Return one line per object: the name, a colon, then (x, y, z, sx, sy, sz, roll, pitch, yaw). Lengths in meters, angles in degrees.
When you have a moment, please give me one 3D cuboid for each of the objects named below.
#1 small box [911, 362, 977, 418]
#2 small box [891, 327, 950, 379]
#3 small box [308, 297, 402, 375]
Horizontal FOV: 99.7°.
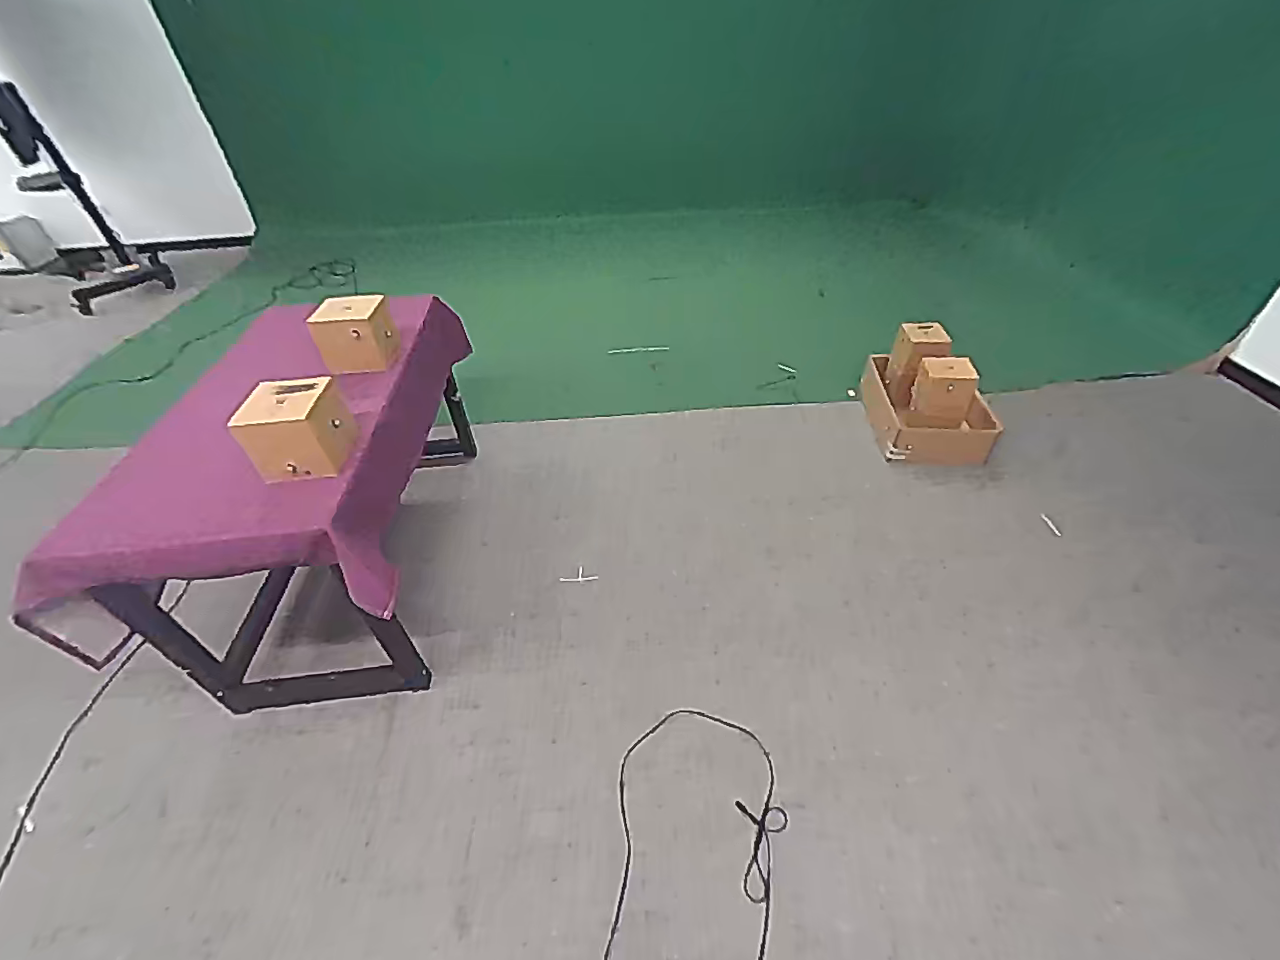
small box: (1.233, -0.365, 2.202, 0.179, 0.176, 0.168, 3, 41, 11)
small box: (1.249, -0.568, 2.425, 0.168, 0.176, 0.179, 2, 42, 5)
small box: (-0.836, -0.428, 1.613, 0.179, 0.176, 0.168, -4, 41, 0)
